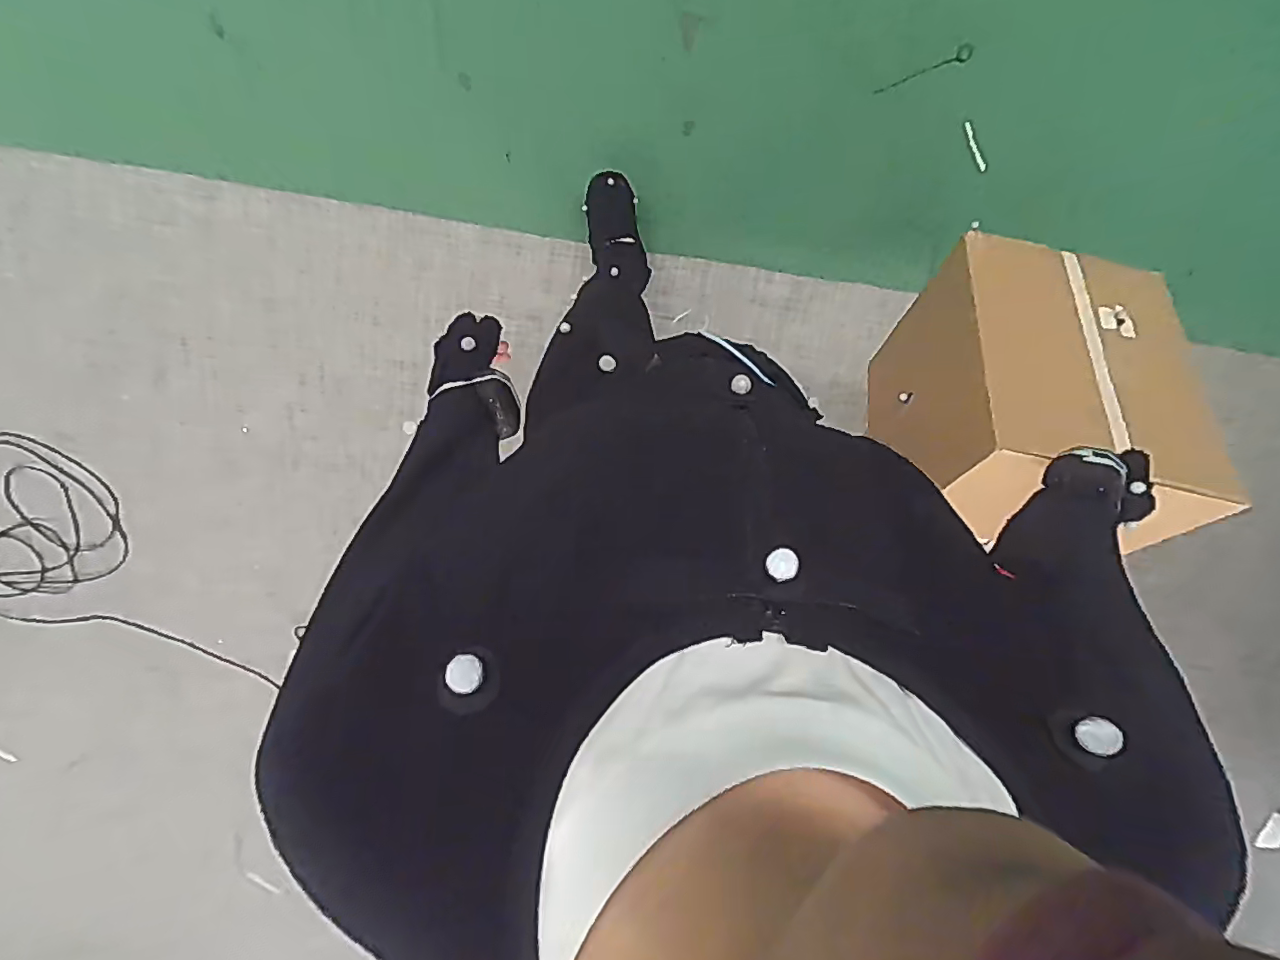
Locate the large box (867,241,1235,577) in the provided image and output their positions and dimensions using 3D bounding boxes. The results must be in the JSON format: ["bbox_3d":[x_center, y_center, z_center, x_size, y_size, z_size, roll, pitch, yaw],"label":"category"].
[{"bbox_3d":[0.588,-0.101,0.874,0.320,0.408,0.320,13,150,-1],"label":"large box"}]
